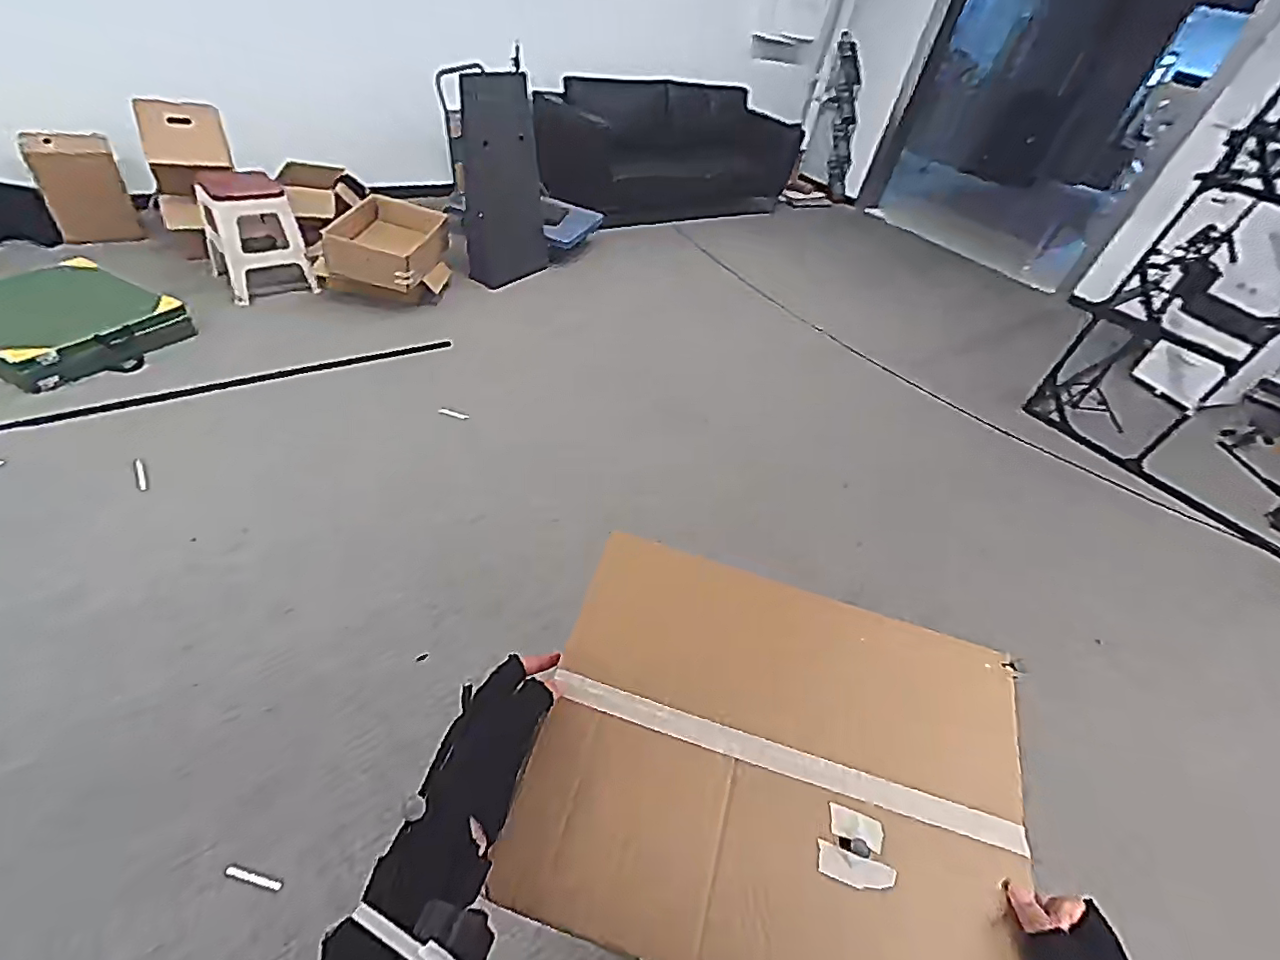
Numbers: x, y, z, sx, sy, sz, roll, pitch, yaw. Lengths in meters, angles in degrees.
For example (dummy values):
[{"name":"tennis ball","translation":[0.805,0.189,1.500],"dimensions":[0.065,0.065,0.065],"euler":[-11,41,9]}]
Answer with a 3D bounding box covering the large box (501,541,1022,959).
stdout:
[{"name":"large box","translation":[0.109,0.316,0.596],"dimensions":[0.408,0.320,0.320],"euler":[17,58,5]}]
